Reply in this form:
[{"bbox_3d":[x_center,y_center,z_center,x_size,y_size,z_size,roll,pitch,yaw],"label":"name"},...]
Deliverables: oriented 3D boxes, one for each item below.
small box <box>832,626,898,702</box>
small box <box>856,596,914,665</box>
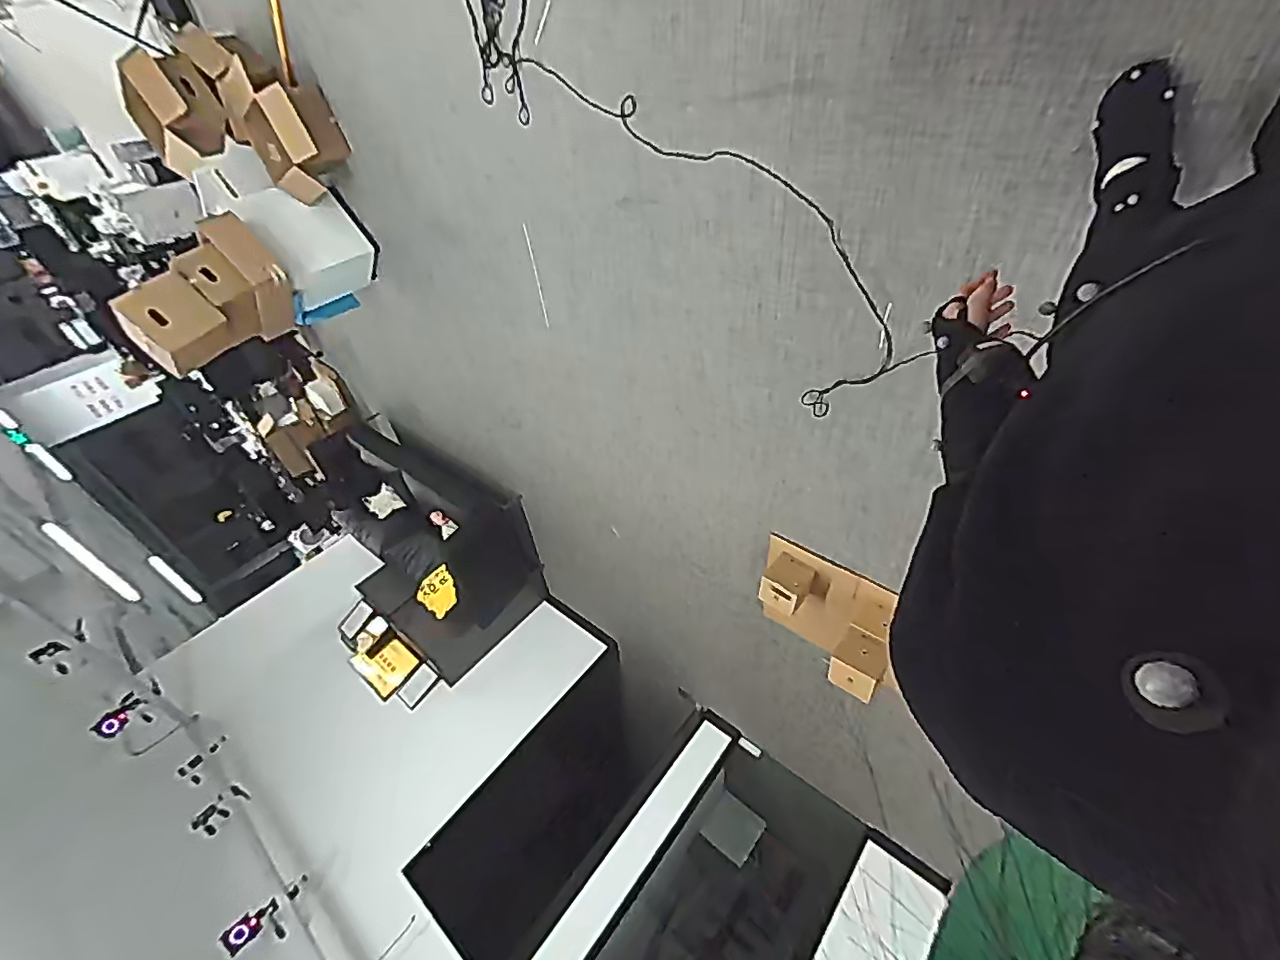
[{"bbox_3d":[0.846,0.685,2.029,0.168,0.176,0.179,26,142,33],"label":"small box"},{"bbox_3d":[0.950,0.586,2.113,0.168,0.176,0.179,25,142,33],"label":"small box"}]
